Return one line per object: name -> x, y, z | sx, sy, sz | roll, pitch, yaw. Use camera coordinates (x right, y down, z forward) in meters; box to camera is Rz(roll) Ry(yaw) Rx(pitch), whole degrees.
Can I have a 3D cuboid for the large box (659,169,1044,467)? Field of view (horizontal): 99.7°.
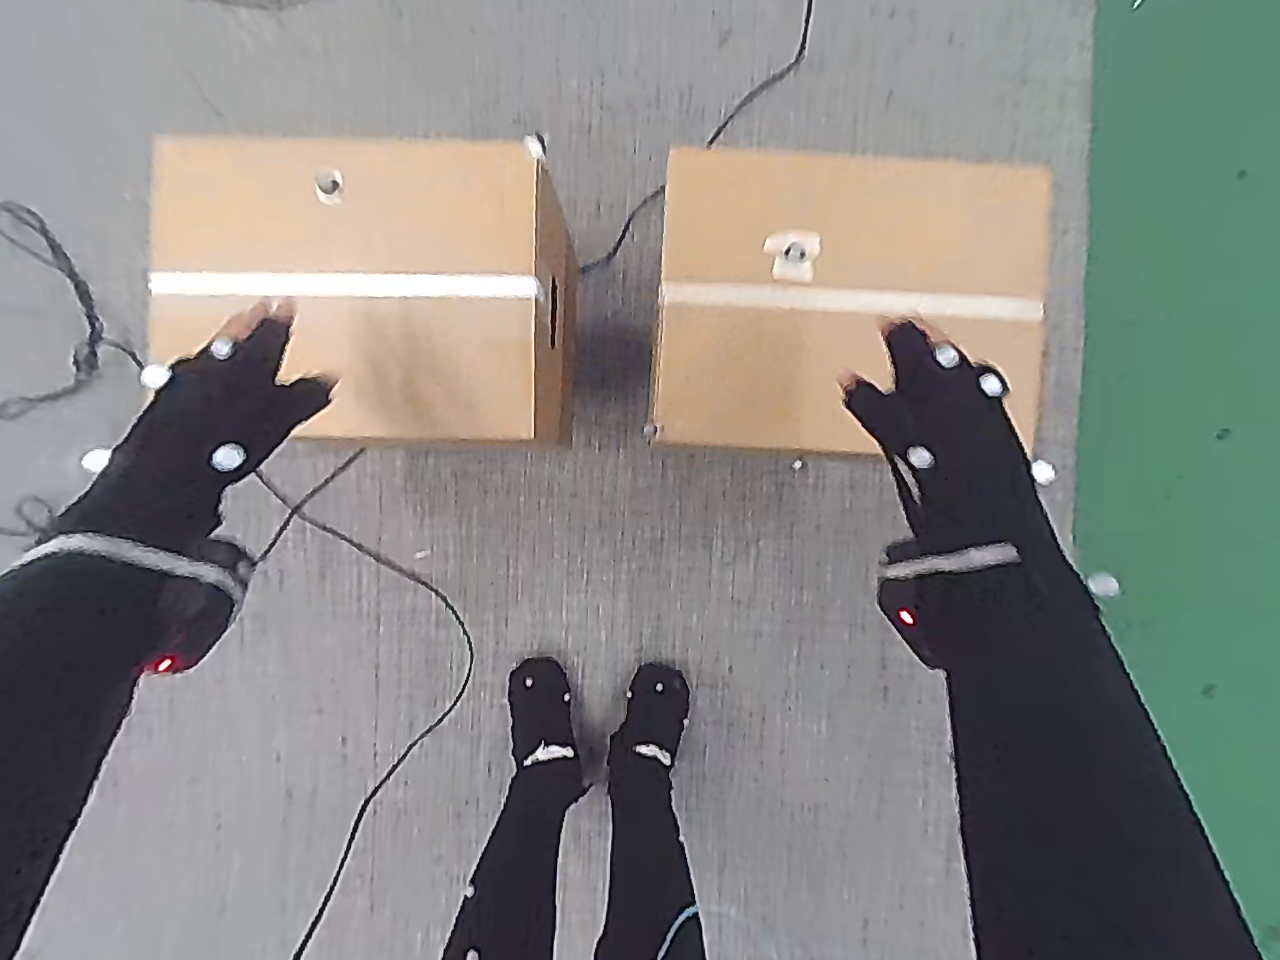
large box -> 0.237, -0.184, 0.741 | 0.408, 0.320, 0.320 | 4, 91, 1
